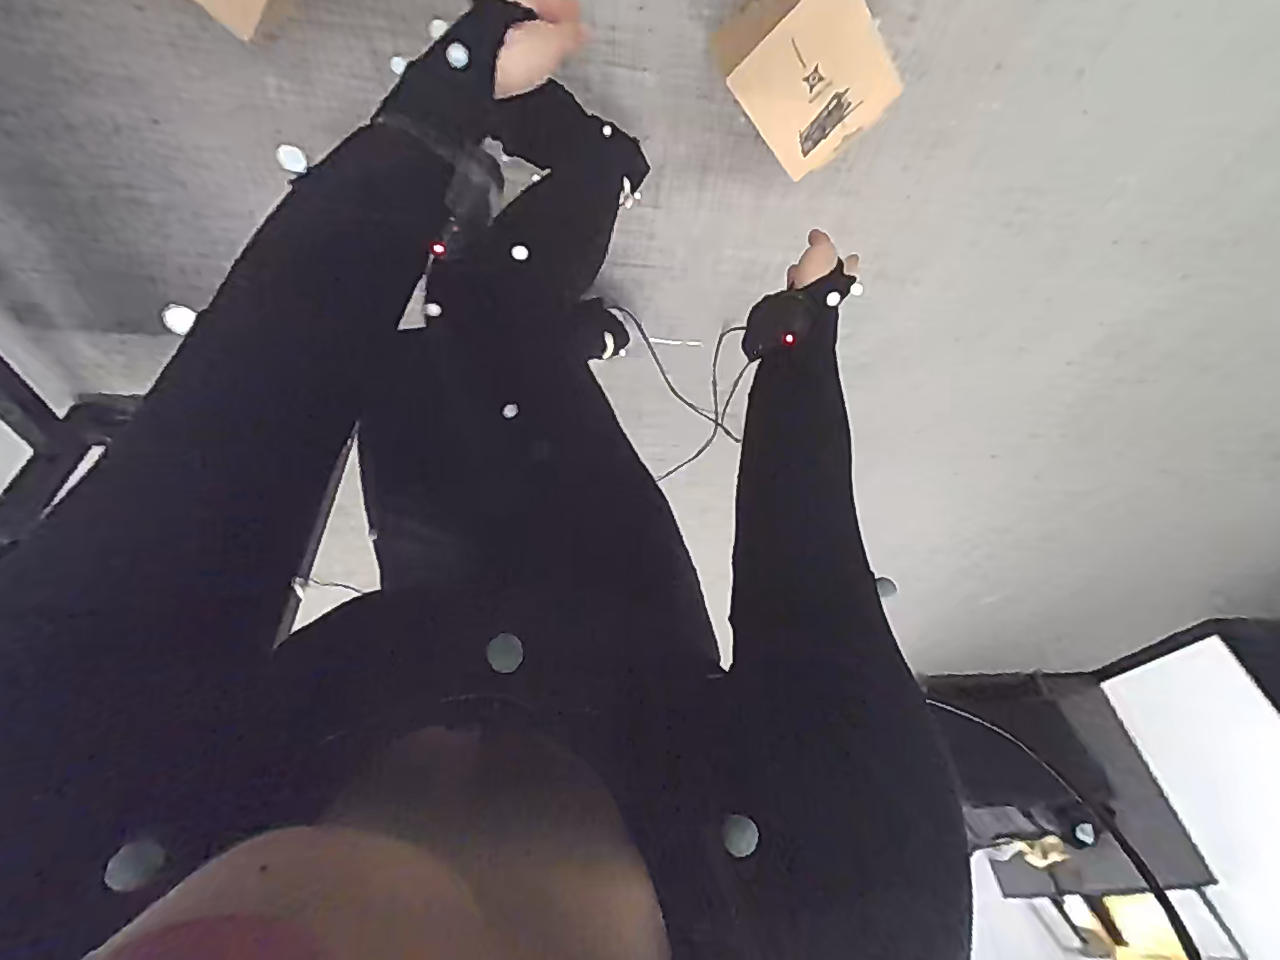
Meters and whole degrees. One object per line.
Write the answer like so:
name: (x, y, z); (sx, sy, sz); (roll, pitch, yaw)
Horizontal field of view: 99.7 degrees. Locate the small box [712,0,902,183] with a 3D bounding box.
small box: (0.219, -0.561, 0.736); (0.168, 0.176, 0.179); (-32, 134, 30)
